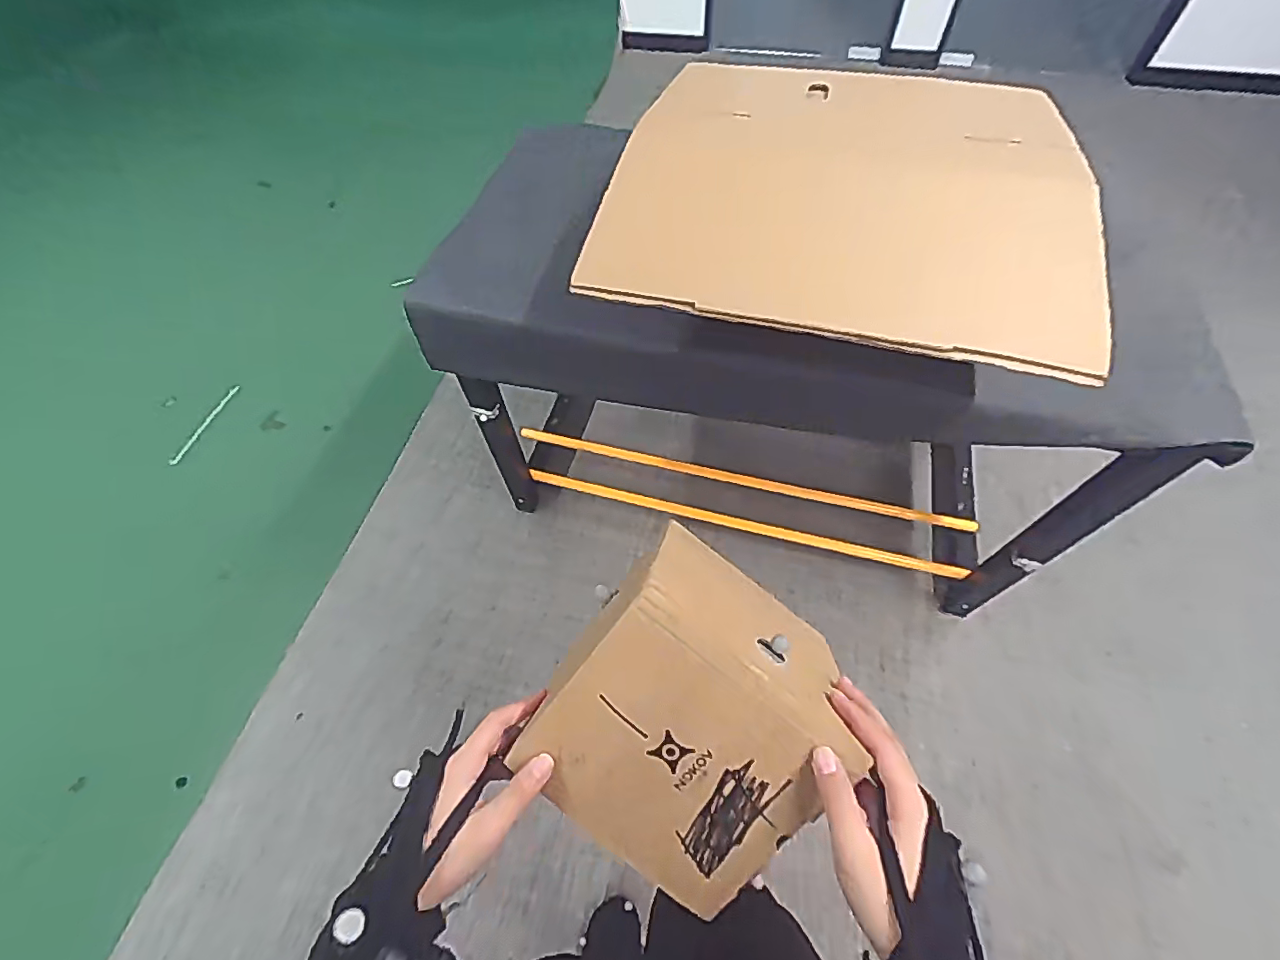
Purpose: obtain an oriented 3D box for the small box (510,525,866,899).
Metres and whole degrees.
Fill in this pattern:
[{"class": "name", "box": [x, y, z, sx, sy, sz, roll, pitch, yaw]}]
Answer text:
[{"class": "small box", "box": [0.038, 0.158, 0.428, 0.179, 0.176, 0.168, 38, 103, 1]}]
